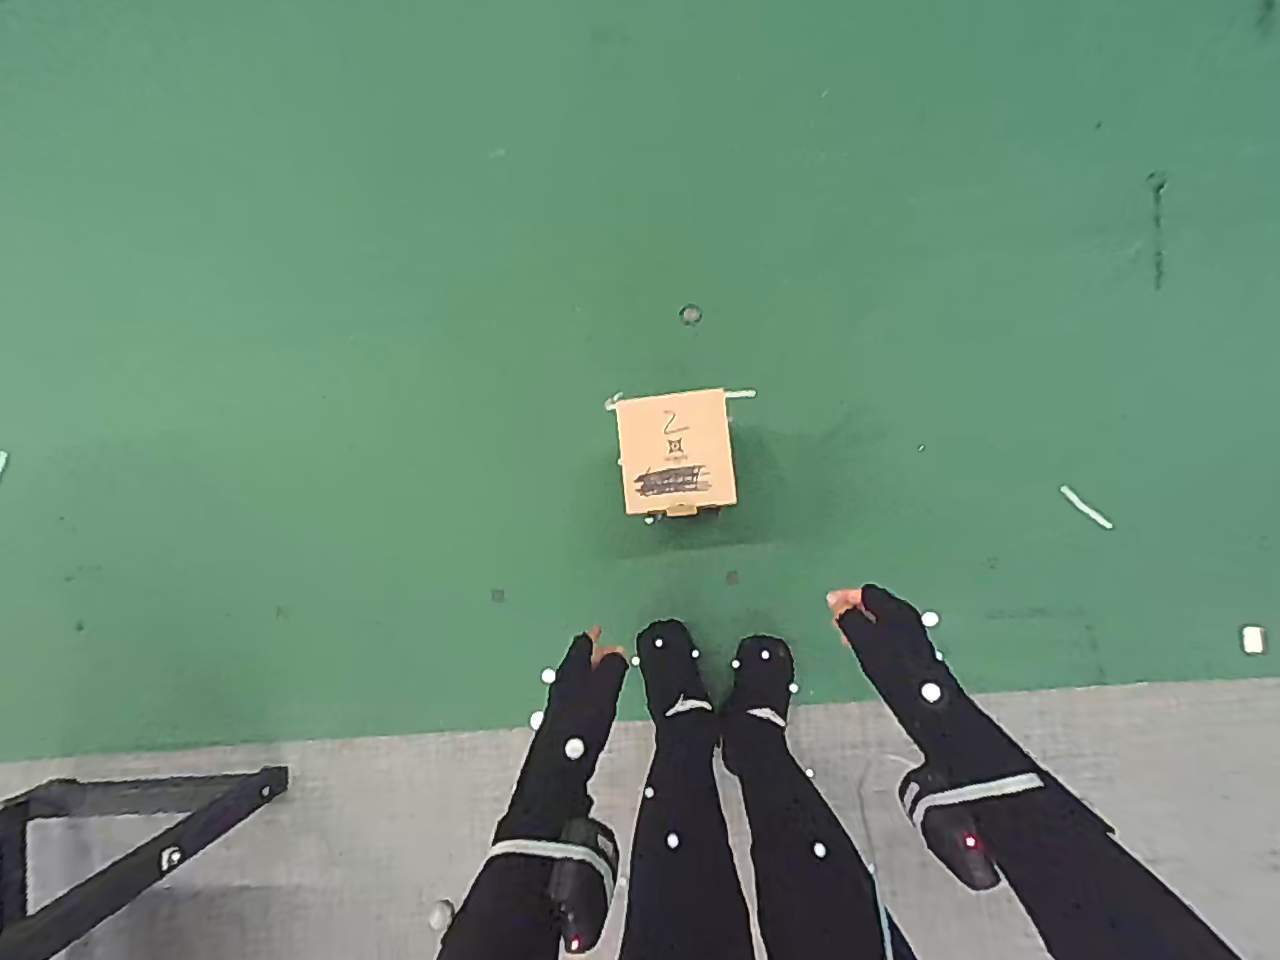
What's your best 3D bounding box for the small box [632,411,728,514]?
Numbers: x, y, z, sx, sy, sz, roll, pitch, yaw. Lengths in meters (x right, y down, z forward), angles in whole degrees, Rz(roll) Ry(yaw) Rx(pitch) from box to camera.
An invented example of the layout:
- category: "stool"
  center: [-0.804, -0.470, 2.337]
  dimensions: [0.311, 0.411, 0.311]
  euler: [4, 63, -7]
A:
- category: "small box"
  center: [0.080, -0.029, 1.050]
  dimensions: [0.168, 0.176, 0.179]
  euler: [-5, 86, 5]
